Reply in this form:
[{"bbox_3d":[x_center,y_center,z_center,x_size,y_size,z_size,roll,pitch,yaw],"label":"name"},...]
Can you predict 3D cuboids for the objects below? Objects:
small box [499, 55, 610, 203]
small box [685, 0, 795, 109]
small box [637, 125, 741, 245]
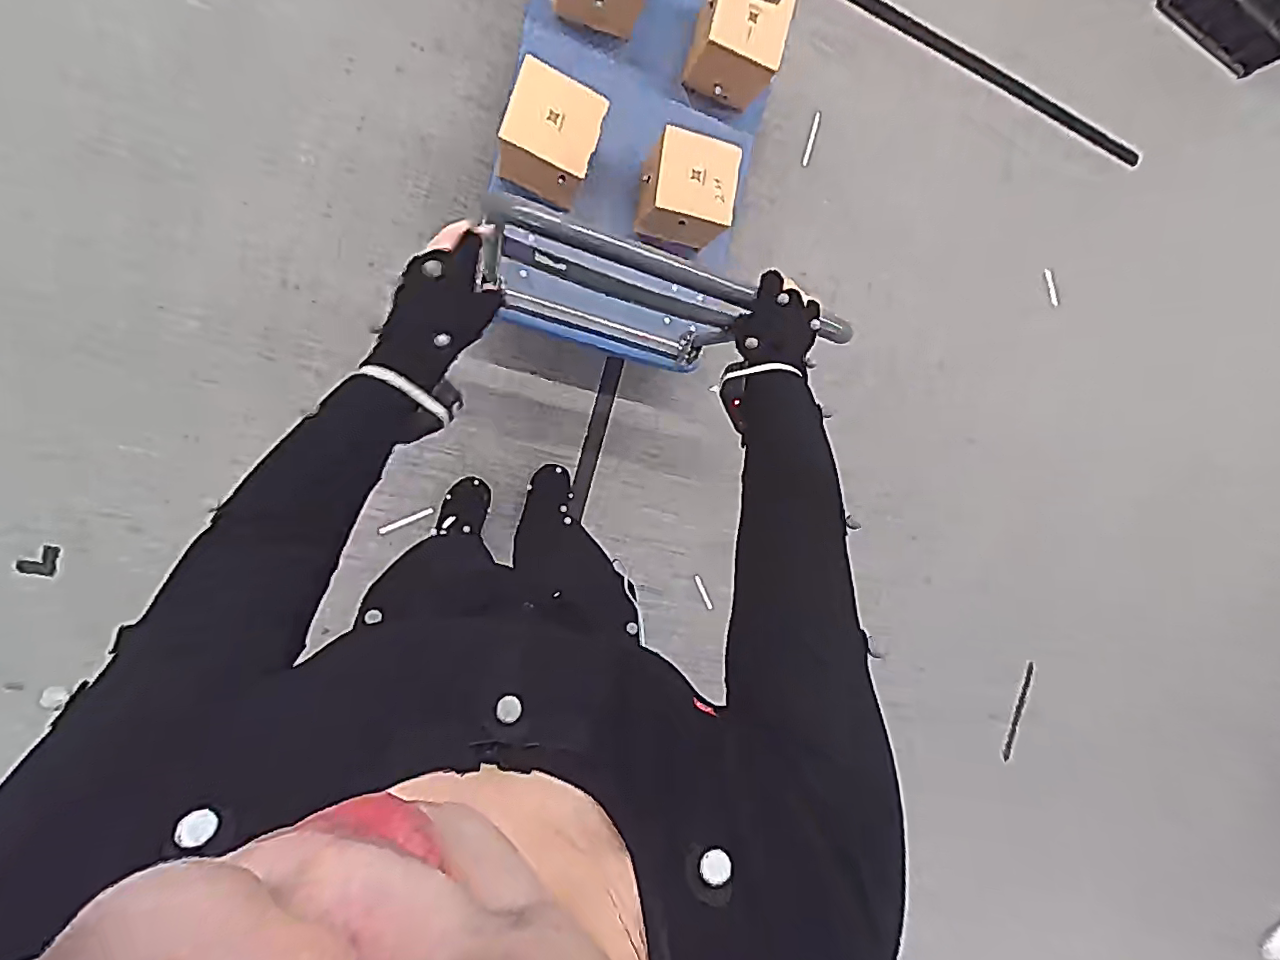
[{"bbox_3d":[-0.185,-0.710,1.122,0.179,0.176,0.168,18,91,-18],"label":"small box"},{"bbox_3d":[0.215,-0.980,1.199,0.168,0.176,0.179,13,95,-16],"label":"small box"},{"bbox_3d":[0.101,-0.647,1.210,0.179,0.176,0.168,7,95,-16],"label":"small box"}]
